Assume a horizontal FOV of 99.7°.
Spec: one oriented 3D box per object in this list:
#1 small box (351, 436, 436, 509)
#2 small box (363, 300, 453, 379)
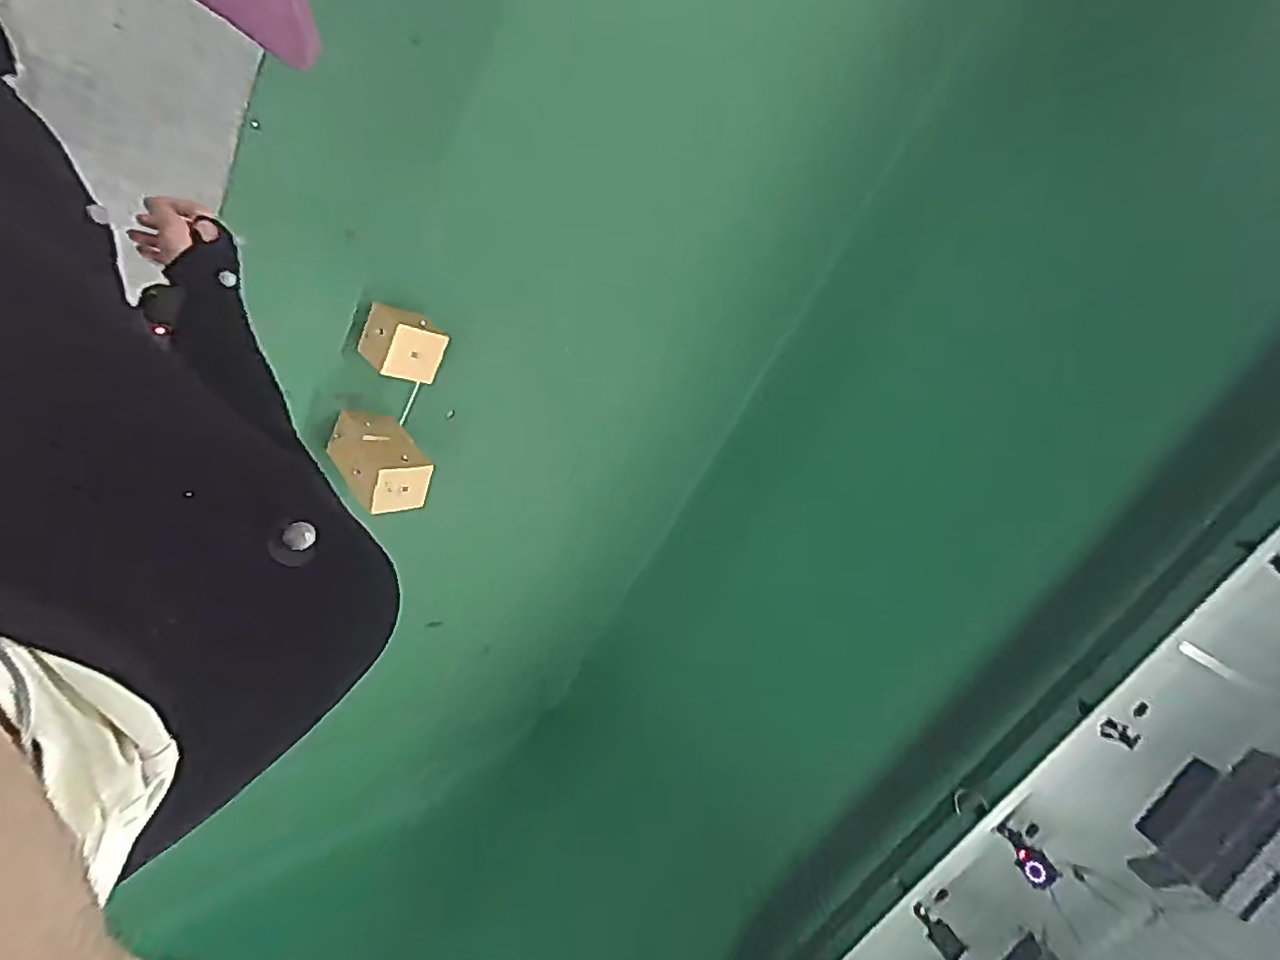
[{"bbox_3d":[-0.784,-0.030,1.717,0.179,0.176,0.168,-8,130,-50],"label":"small box"},{"bbox_3d":[-0.722,-0.435,1.672,0.179,0.176,0.168,1,123,-56],"label":"small box"}]
